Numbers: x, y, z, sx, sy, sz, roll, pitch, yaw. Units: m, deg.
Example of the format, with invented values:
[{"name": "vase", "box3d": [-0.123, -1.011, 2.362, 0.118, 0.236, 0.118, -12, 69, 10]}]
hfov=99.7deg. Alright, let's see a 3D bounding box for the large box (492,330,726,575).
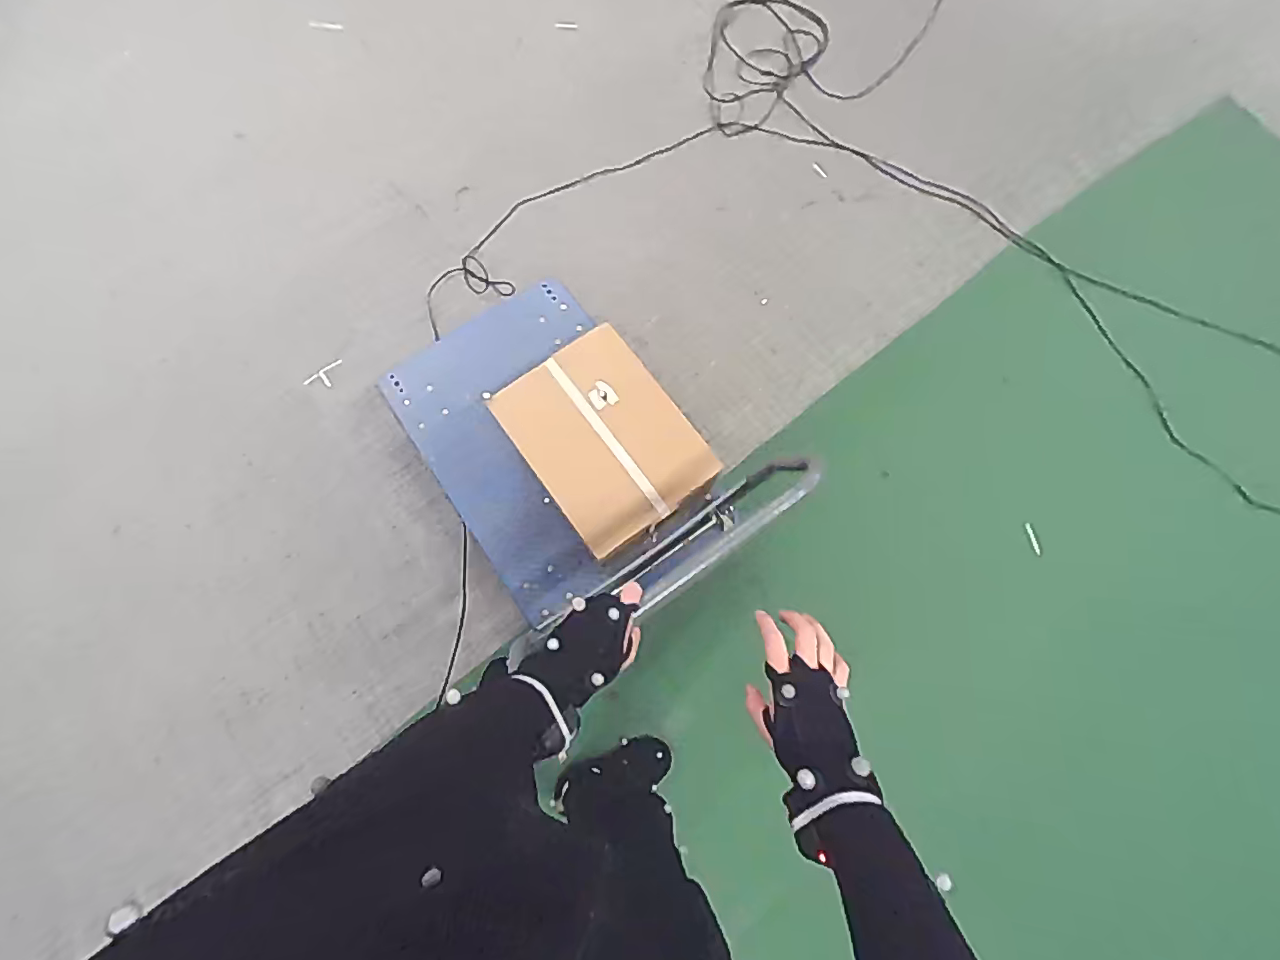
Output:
[{"name": "large box", "box3d": [-0.065, -0.044, 1.230, 0.320, 0.320, 0.408, -34, 78, -10]}]
